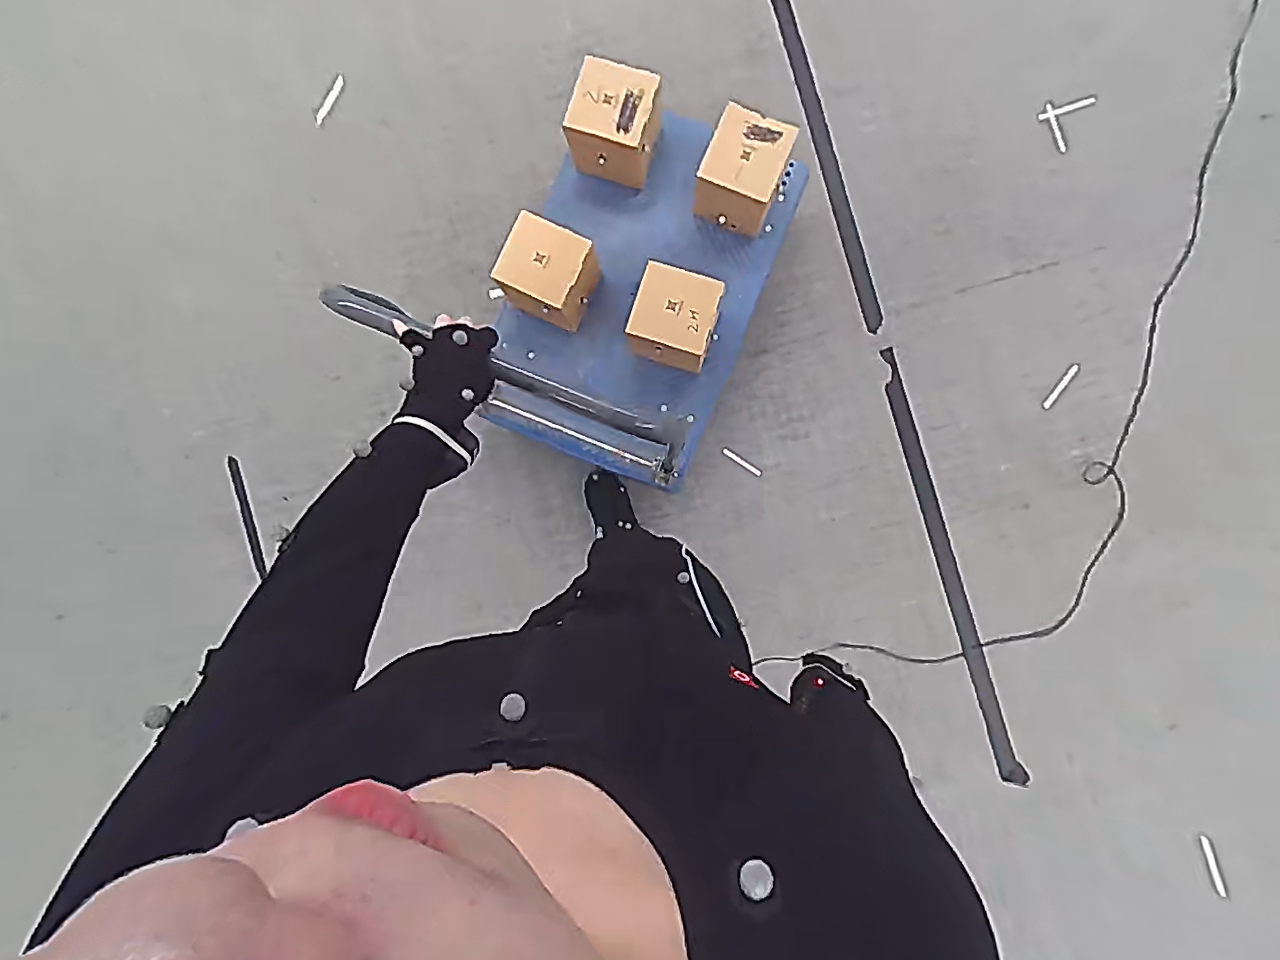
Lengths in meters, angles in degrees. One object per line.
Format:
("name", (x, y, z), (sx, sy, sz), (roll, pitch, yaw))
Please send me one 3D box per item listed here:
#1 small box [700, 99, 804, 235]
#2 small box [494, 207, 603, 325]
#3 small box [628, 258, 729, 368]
("small box", (0.242, -0.697, 1.222), (0.168, 0.176, 0.179), (24, 91, 4))
("small box", (-0.201, -0.481, 1.245), (0.179, 0.176, 0.168), (26, 90, 2))
("small box", (0.085, -0.368, 1.223), (0.179, 0.176, 0.168), (19, 90, 4))
